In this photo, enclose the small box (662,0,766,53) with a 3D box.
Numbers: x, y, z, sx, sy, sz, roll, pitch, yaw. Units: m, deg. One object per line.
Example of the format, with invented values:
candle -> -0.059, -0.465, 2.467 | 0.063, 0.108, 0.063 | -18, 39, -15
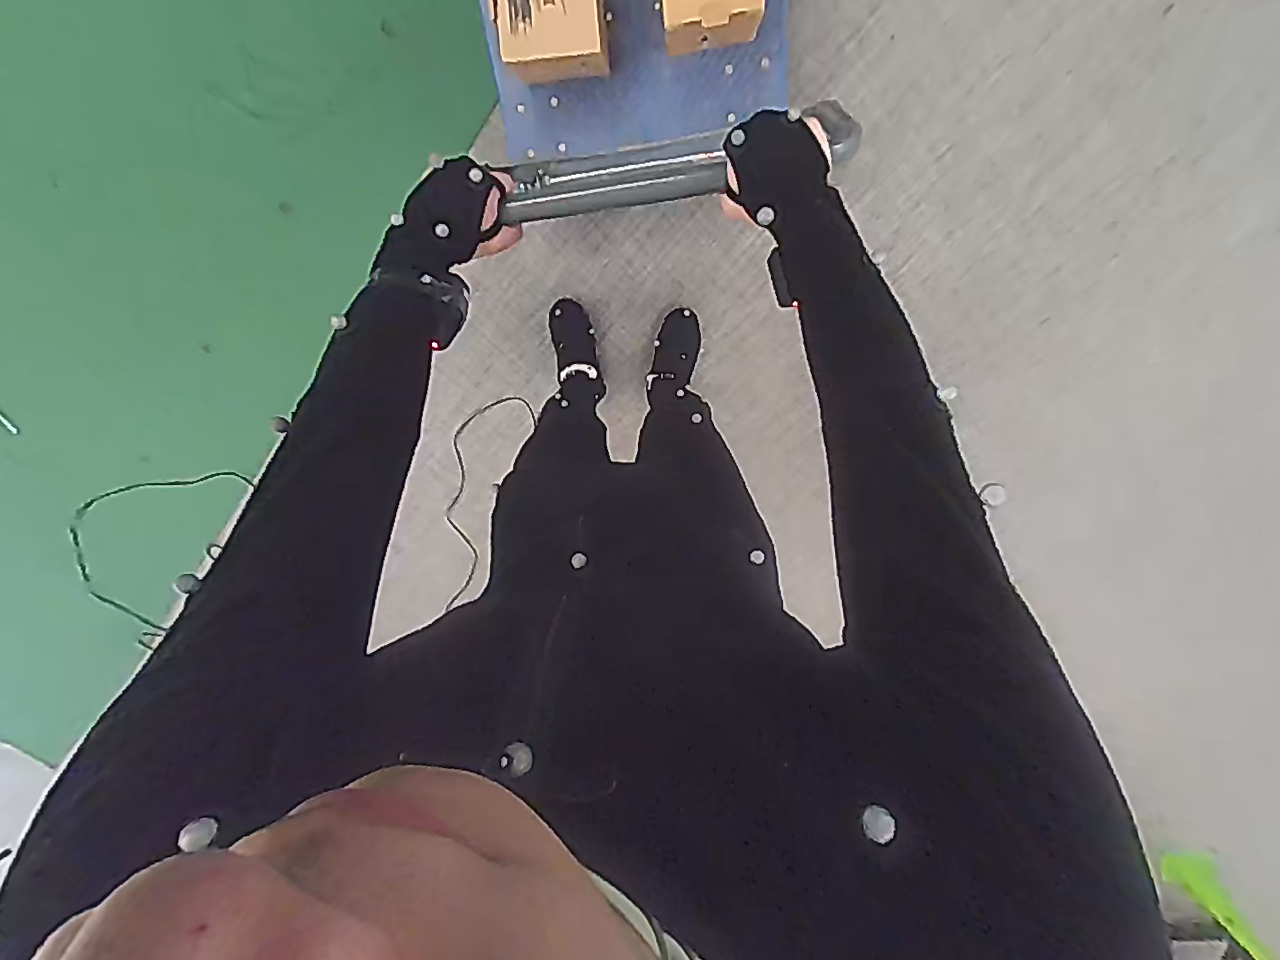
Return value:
small box -> 0.118, -0.867, 0.921 | 0.168, 0.176, 0.179 | -5, 117, 7
